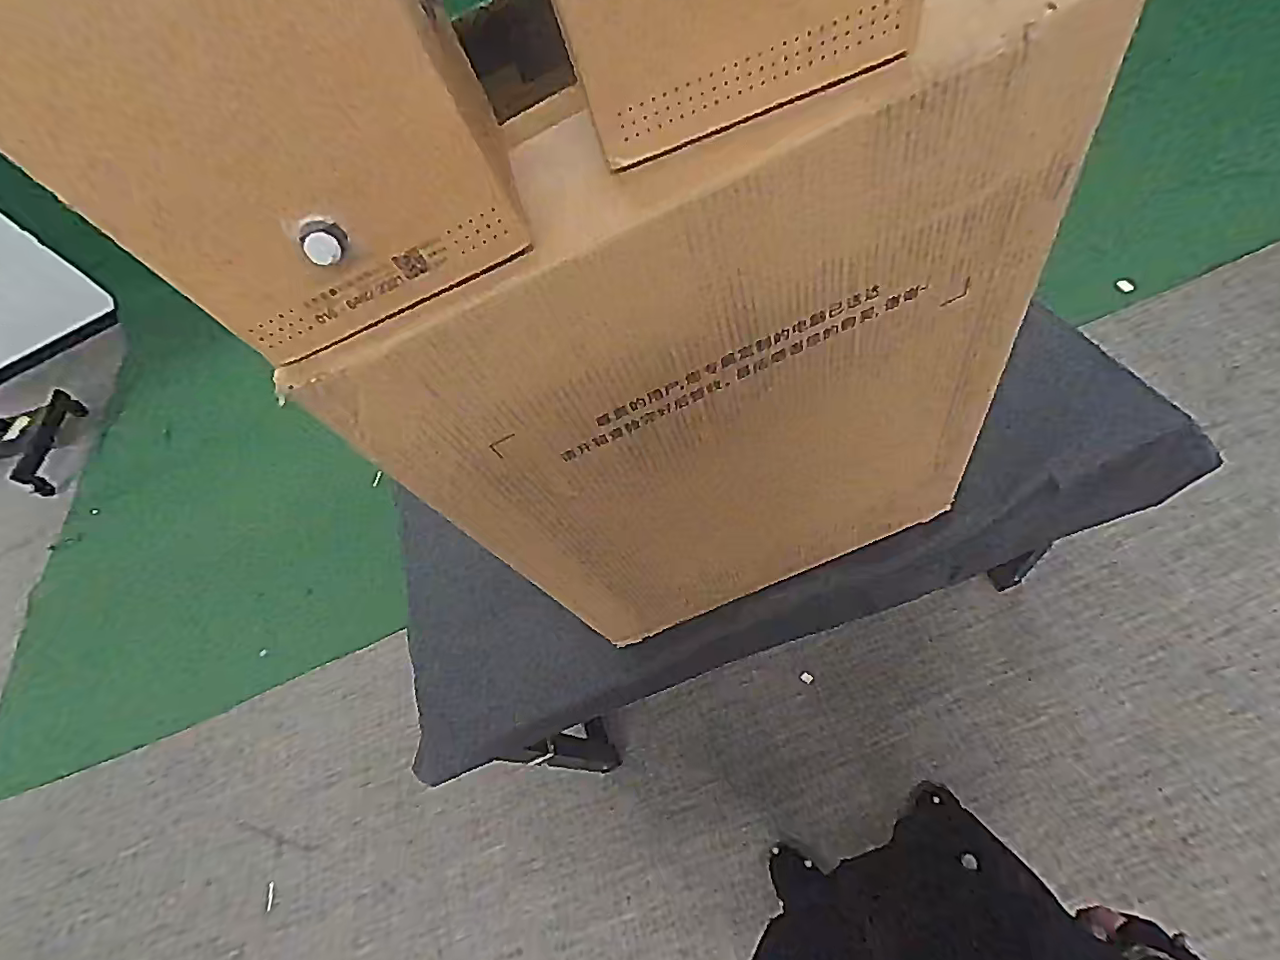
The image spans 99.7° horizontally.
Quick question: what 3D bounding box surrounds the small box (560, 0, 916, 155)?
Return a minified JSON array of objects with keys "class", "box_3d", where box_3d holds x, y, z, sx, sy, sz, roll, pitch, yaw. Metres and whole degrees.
[{"class":"small box","box_3d":[0.030,-0.307,0.273,0.179,0.176,0.168,-19,57,8]}]
